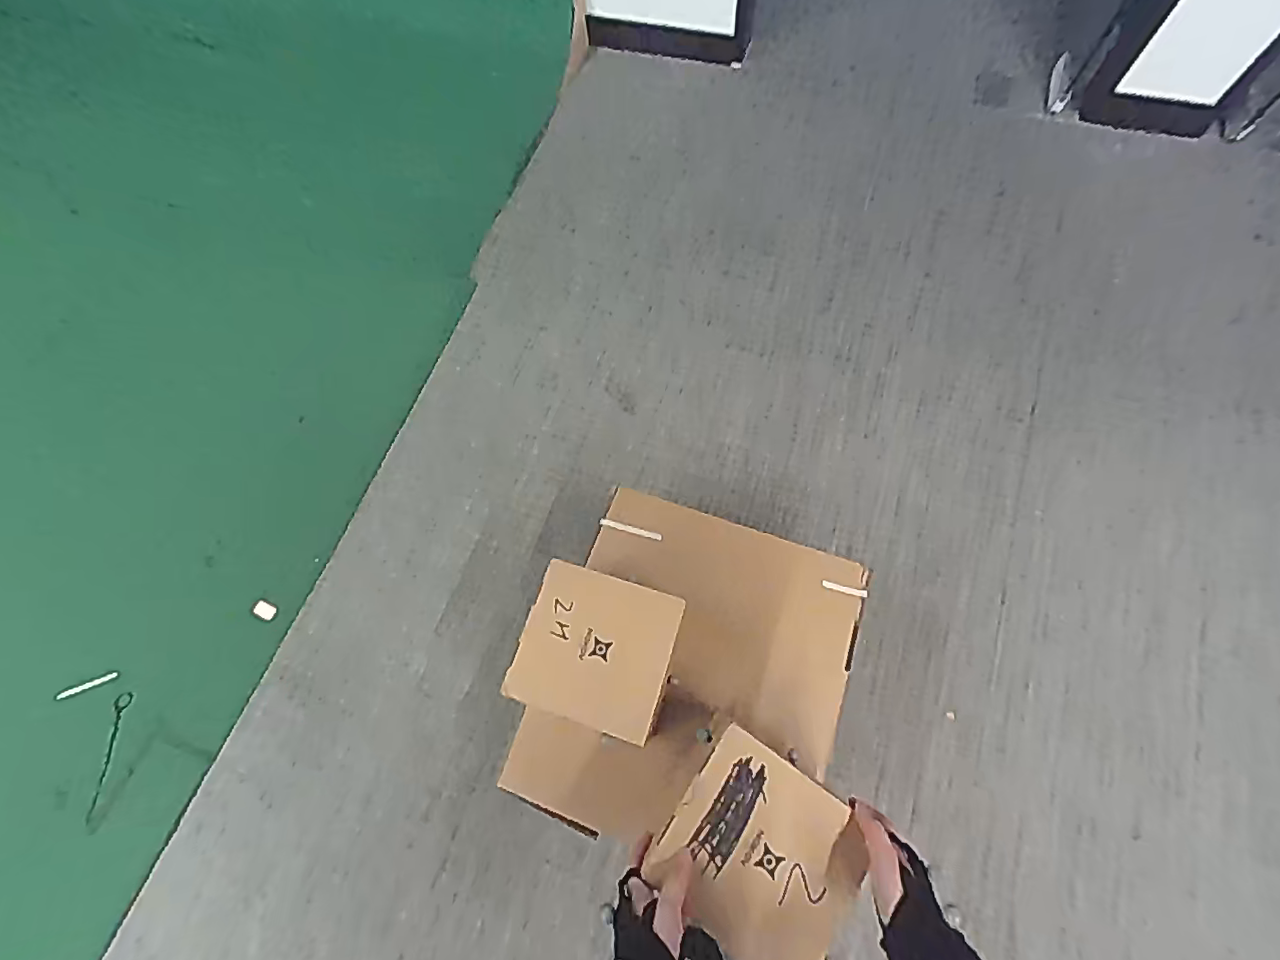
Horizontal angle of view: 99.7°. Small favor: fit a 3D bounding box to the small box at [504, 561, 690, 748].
[{"bbox_3d":[-0.042,0.222,0.696,0.179,0.176,0.168,16,70,11],"label":"small box"}]
